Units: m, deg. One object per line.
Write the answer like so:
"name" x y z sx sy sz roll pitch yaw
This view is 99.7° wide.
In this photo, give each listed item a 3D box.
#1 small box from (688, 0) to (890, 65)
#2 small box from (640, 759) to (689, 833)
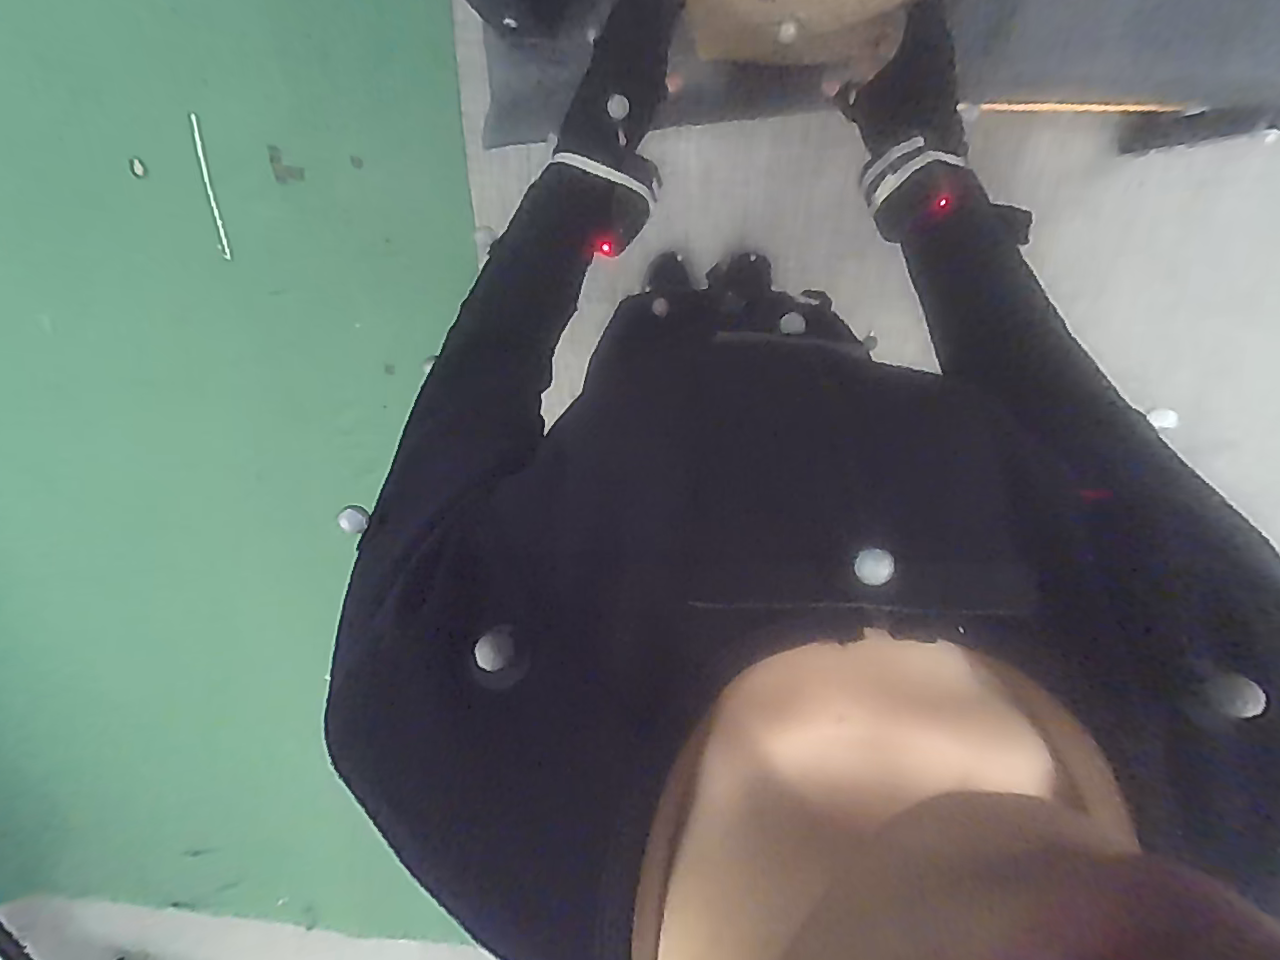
"small box" 0.130 -0.469 0.439 0.168 0.176 0.179 7 113 7
"small box" 0.092 1.141 1.960 0.168 0.176 0.179 -4 114 7
